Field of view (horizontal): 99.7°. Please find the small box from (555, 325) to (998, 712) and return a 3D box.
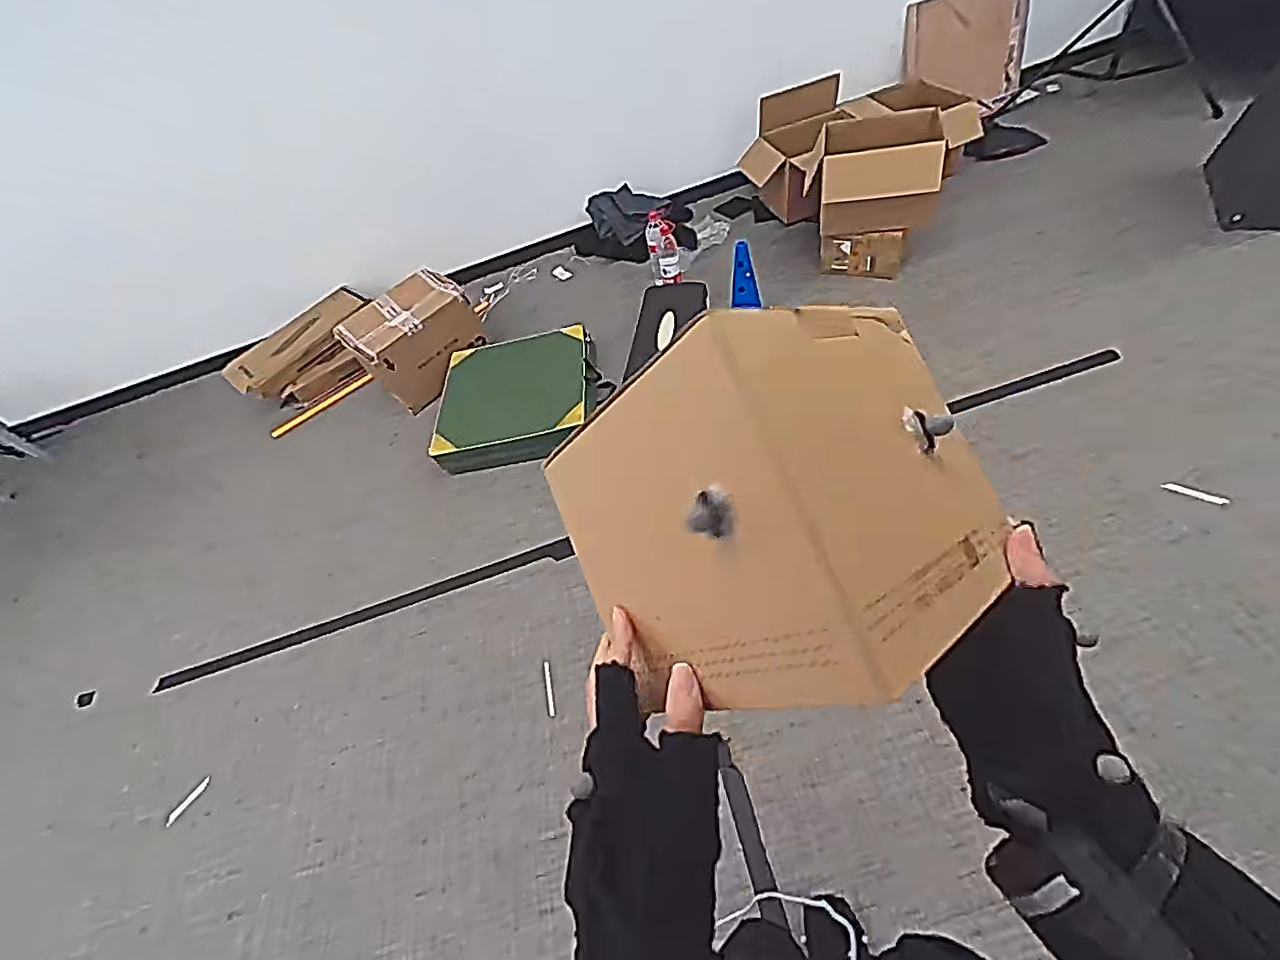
[{"bbox_3d":[0.076,0.029,0.338,0.168,0.179,0.176,-16,79,-35],"label":"small box"}]
